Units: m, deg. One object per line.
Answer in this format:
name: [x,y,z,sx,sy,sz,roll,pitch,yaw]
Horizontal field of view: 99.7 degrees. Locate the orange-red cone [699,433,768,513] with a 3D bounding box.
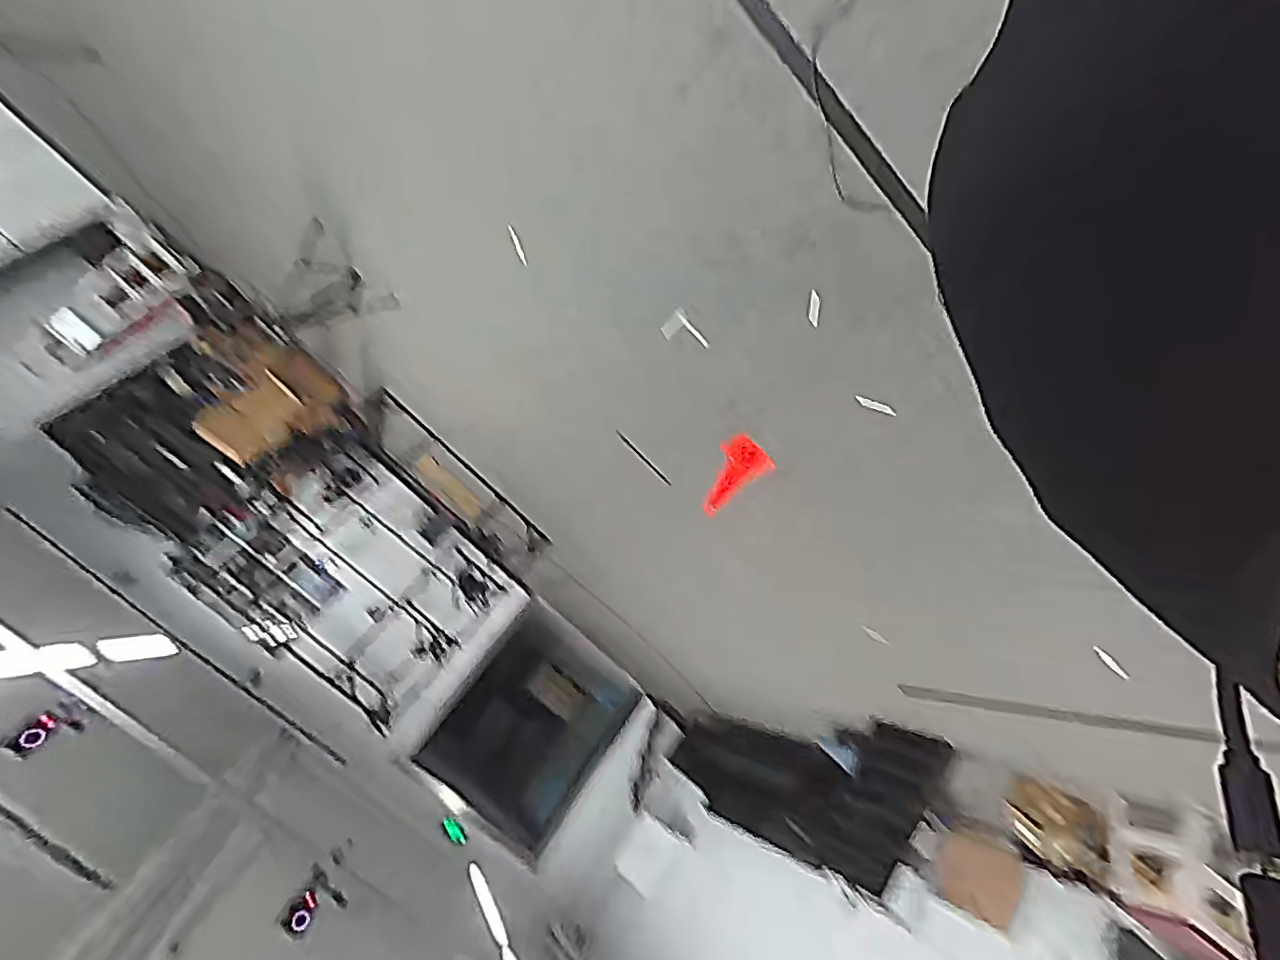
orange-red cone: [0.360,0.002,2.328,0.199,0.360,0.198,41,154,-8]
